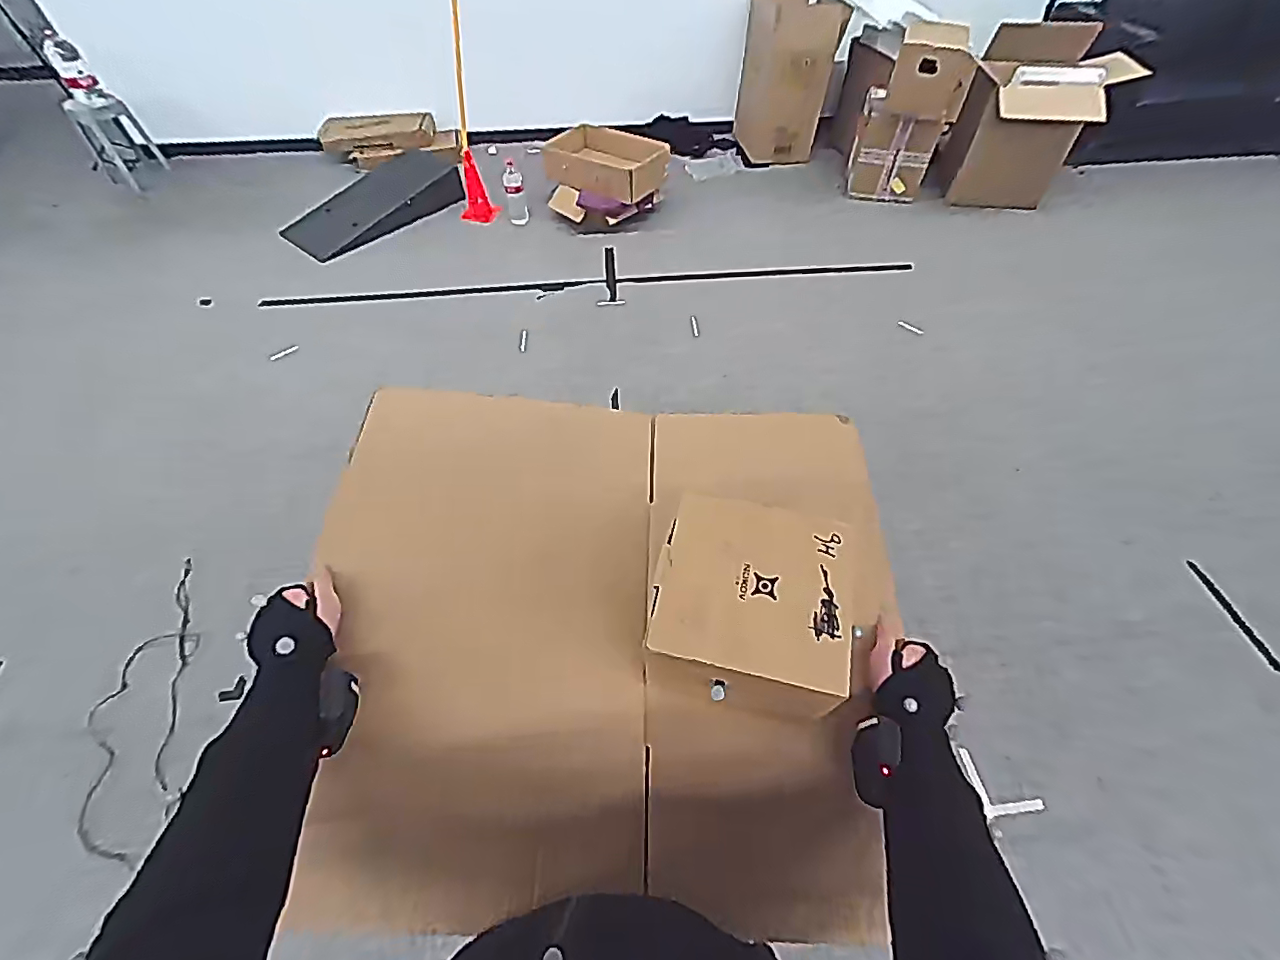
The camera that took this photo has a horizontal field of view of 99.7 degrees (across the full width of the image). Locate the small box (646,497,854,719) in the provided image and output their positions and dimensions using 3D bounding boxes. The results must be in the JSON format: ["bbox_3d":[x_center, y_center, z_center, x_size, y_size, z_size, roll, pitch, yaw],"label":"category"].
[{"bbox_3d":[0.114,0.140,0.574,0.179,0.176,0.168,10,59,11],"label":"small box"}]
